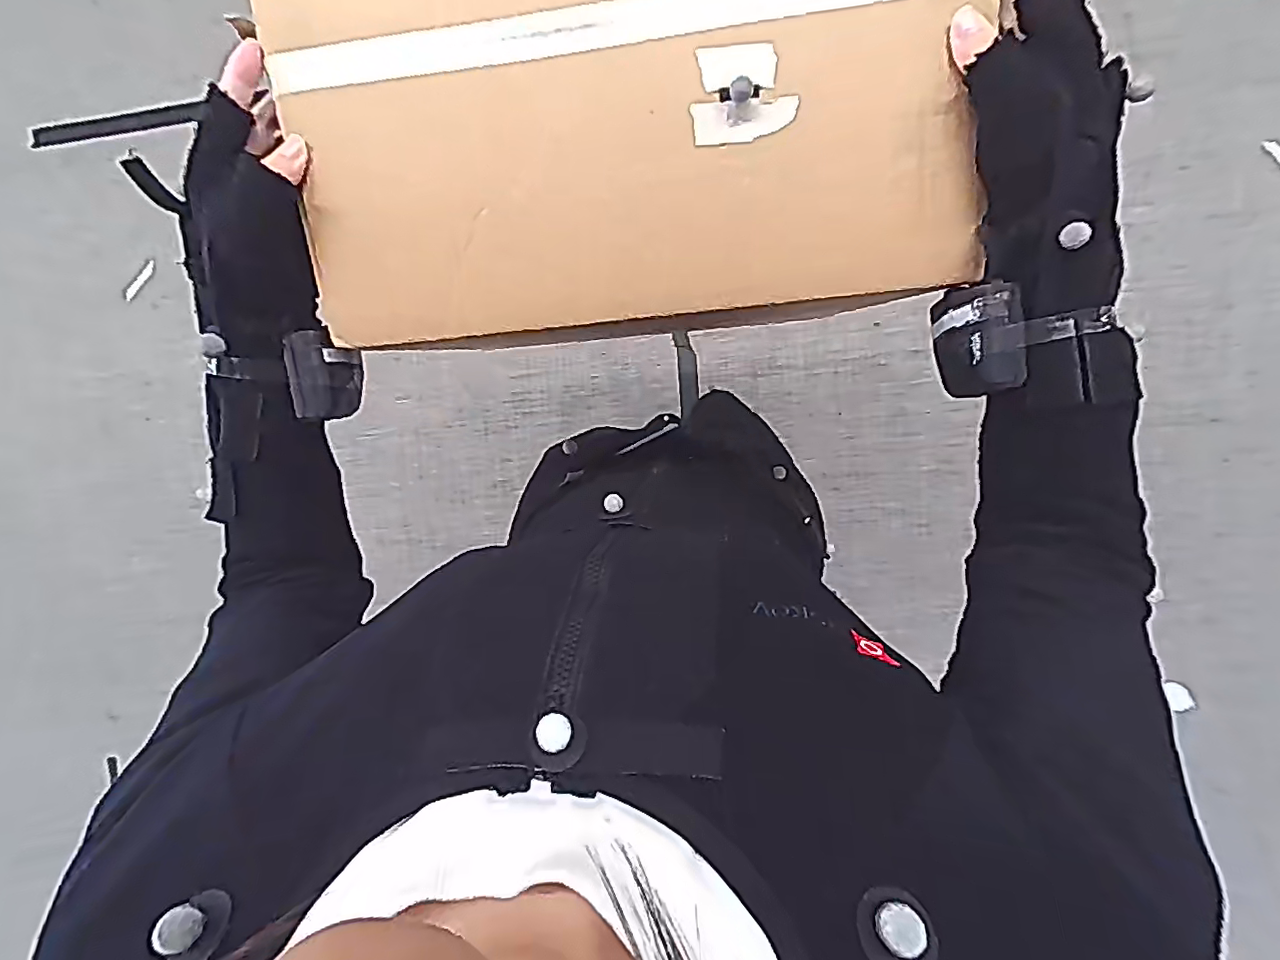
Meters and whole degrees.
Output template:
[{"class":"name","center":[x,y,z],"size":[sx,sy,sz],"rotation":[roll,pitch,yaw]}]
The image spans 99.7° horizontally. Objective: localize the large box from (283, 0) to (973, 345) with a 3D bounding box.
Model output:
[{"class":"large box","center":[-0.005,-0.296,0.460],"size":[0.408,0.320,0.320],"rotation":[-5,104,4]}]
